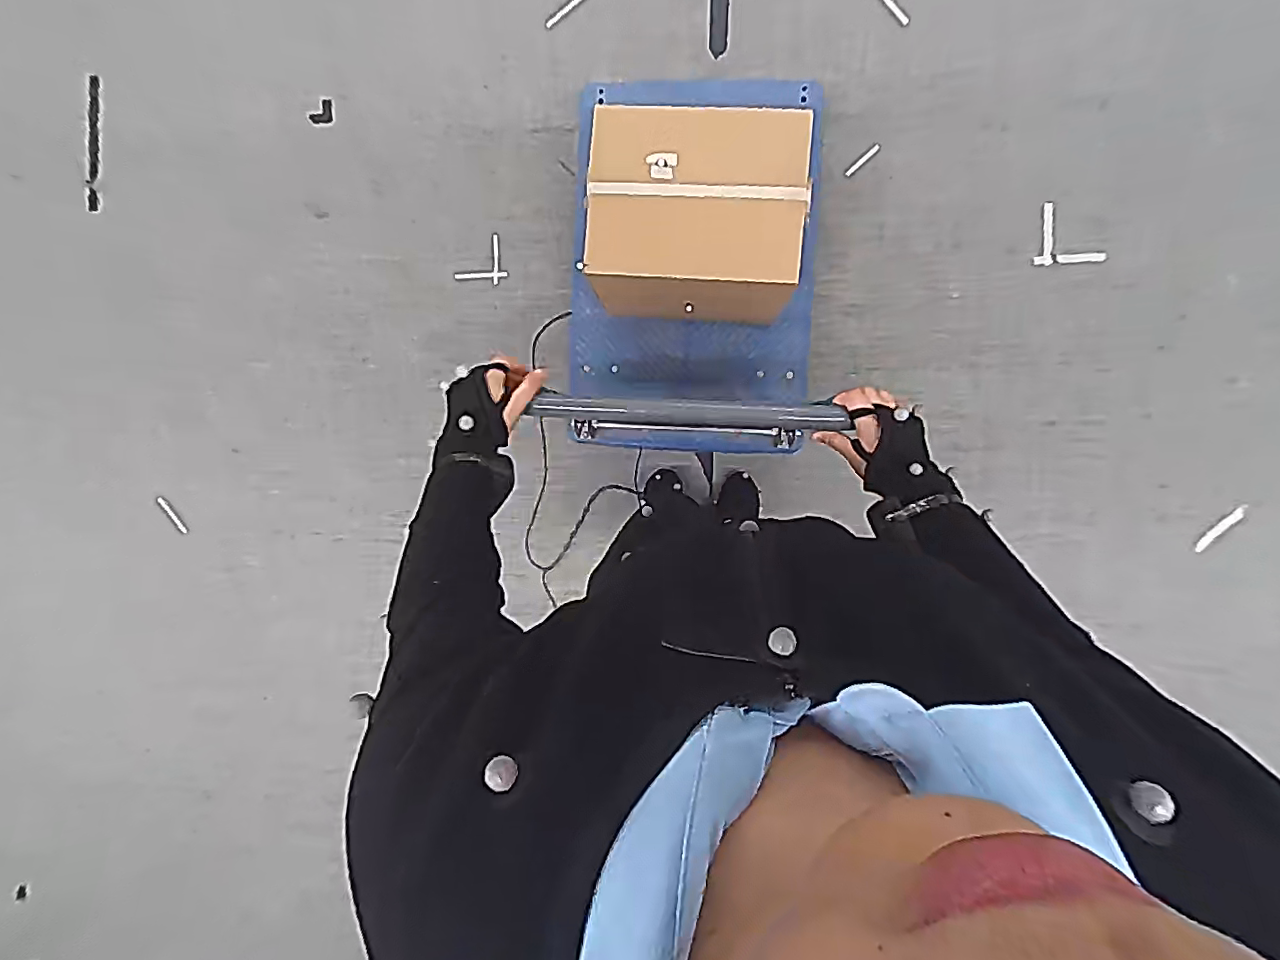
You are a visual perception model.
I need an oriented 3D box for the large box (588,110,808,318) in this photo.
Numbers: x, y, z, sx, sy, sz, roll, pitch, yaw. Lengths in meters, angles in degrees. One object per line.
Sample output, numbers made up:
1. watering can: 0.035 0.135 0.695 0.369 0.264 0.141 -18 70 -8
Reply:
1. large box: 0.122 -0.542 1.162 0.408 0.320 0.320 4 92 6
